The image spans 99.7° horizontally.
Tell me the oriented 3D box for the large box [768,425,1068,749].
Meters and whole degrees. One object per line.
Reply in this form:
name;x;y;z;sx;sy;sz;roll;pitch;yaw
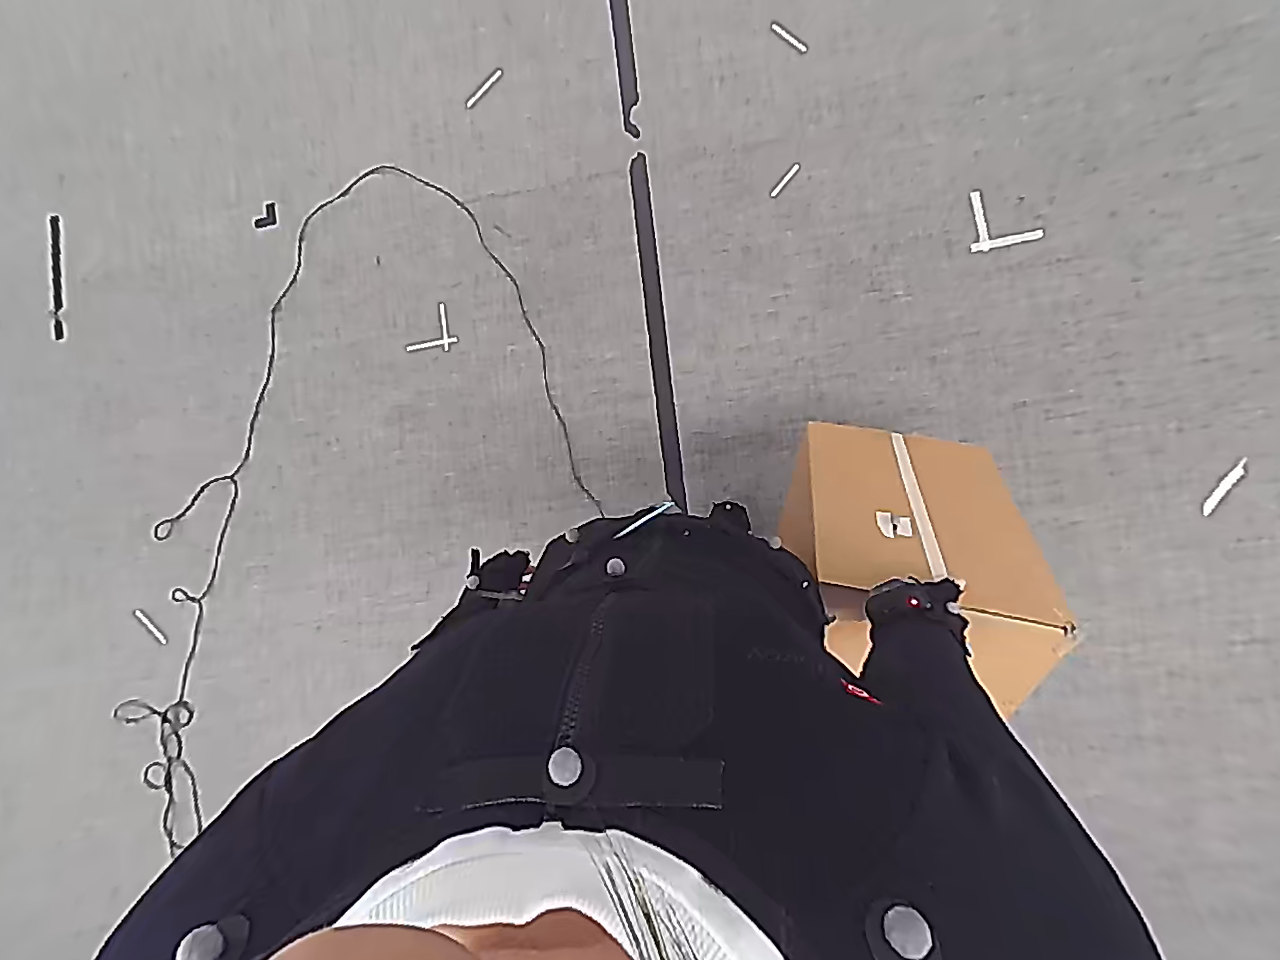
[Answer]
large box;0.402;0.159;0.914;0.320;0.408;0.320;9;129;9
